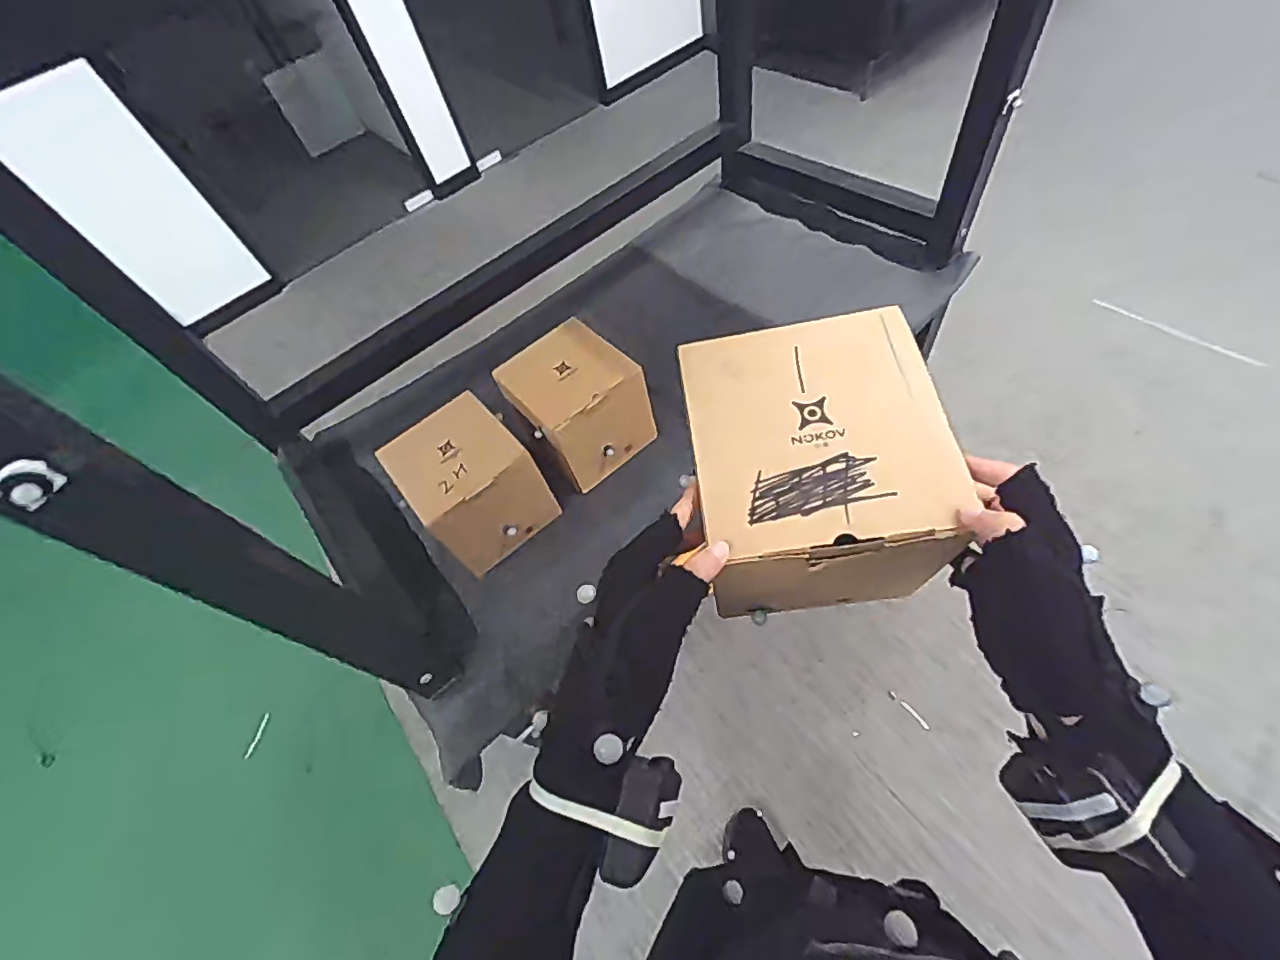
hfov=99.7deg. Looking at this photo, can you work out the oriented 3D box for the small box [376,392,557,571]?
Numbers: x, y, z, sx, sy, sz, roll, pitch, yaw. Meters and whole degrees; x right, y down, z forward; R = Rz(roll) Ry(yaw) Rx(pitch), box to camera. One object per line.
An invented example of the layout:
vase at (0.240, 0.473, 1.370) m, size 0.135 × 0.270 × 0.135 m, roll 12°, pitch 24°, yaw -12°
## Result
small box at (-0.255, 0.006, 0.822) m, size 0.168 × 0.176 × 0.179 m, roll -39°, pitch 57°, yaw -14°
